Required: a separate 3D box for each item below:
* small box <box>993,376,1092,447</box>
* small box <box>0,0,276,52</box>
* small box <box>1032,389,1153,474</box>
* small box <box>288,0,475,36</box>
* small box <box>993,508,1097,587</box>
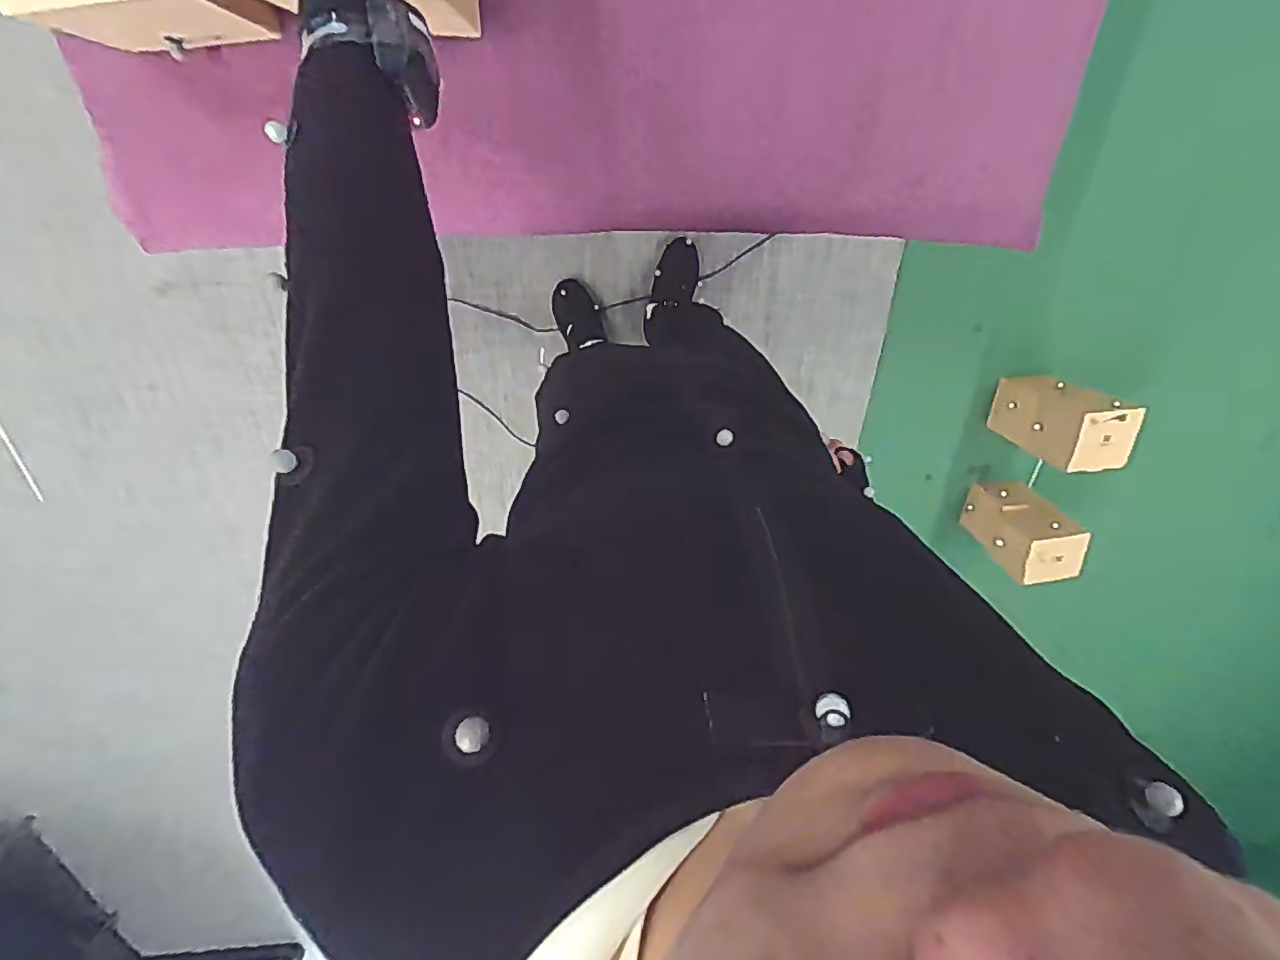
[{"bbox_3d":[1.212,-0.209,1.628,0.179,0.176,0.168,-3,118,-3],"label":"small box"},{"bbox_3d":[-0.492,-0.532,0.503,0.168,0.176,0.179,-7,119,0],"label":"small box"},{"bbox_3d":[1.224,-0.136,1.481,0.168,0.176,0.179,-5,119,-2],"label":"small box"},{"bbox_3d":[-0.256,-0.529,0.486,0.168,0.176,0.179,0,122,-3],"label":"small box"},{"bbox_3d":[1.235,0.200,1.661,0.179,0.176,0.168,-9,118,1],"label":"small box"}]
